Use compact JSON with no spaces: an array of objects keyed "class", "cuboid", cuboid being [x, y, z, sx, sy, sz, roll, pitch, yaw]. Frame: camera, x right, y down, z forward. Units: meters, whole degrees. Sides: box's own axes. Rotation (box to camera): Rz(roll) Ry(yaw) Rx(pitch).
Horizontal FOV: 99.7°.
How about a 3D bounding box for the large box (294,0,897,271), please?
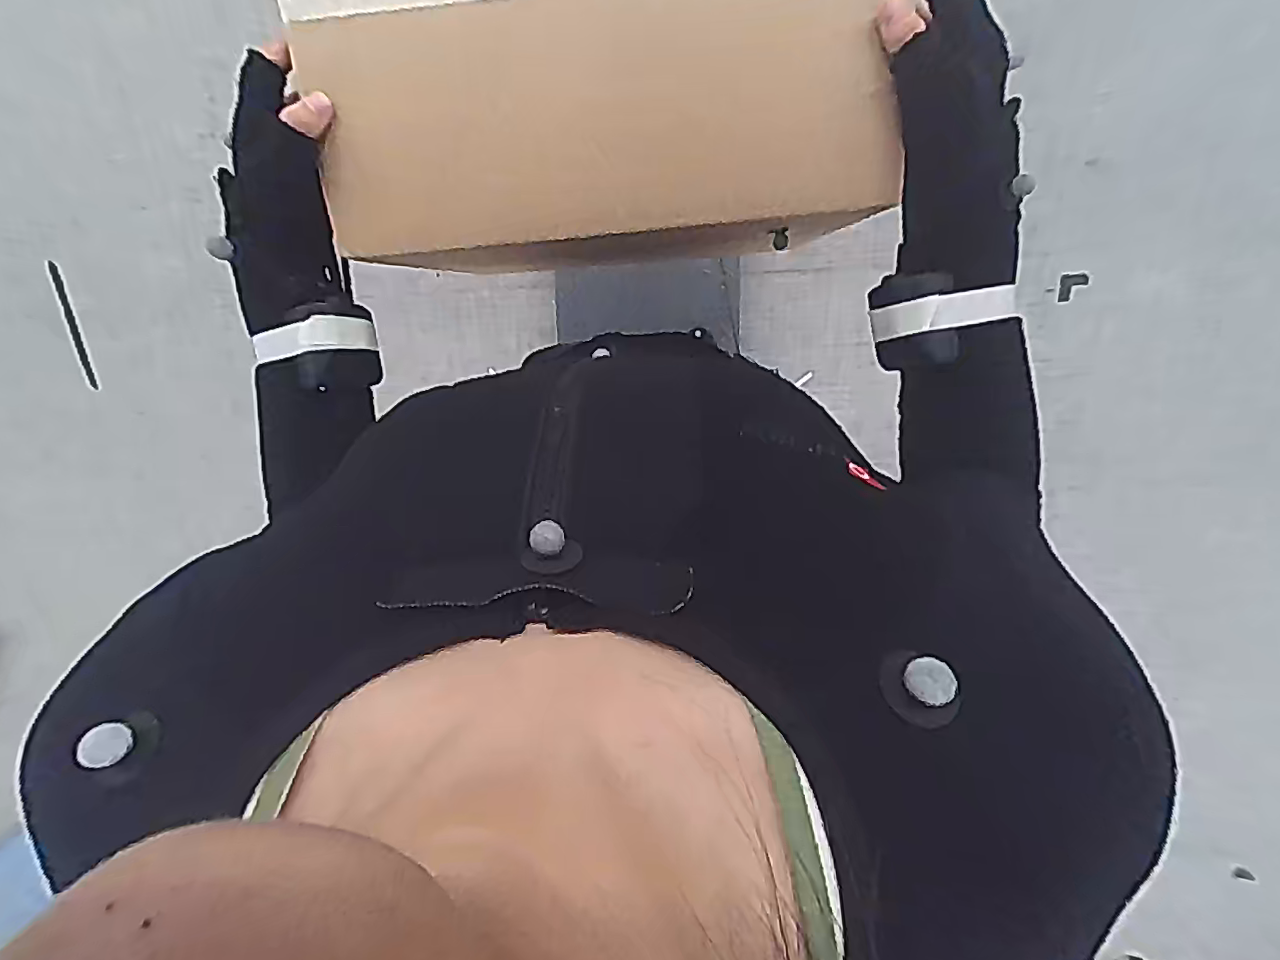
[{"class":"large box","cuboid":[-0.027,-0.374,0.491,0.408,0.320,0.320,-4,108,4]}]
